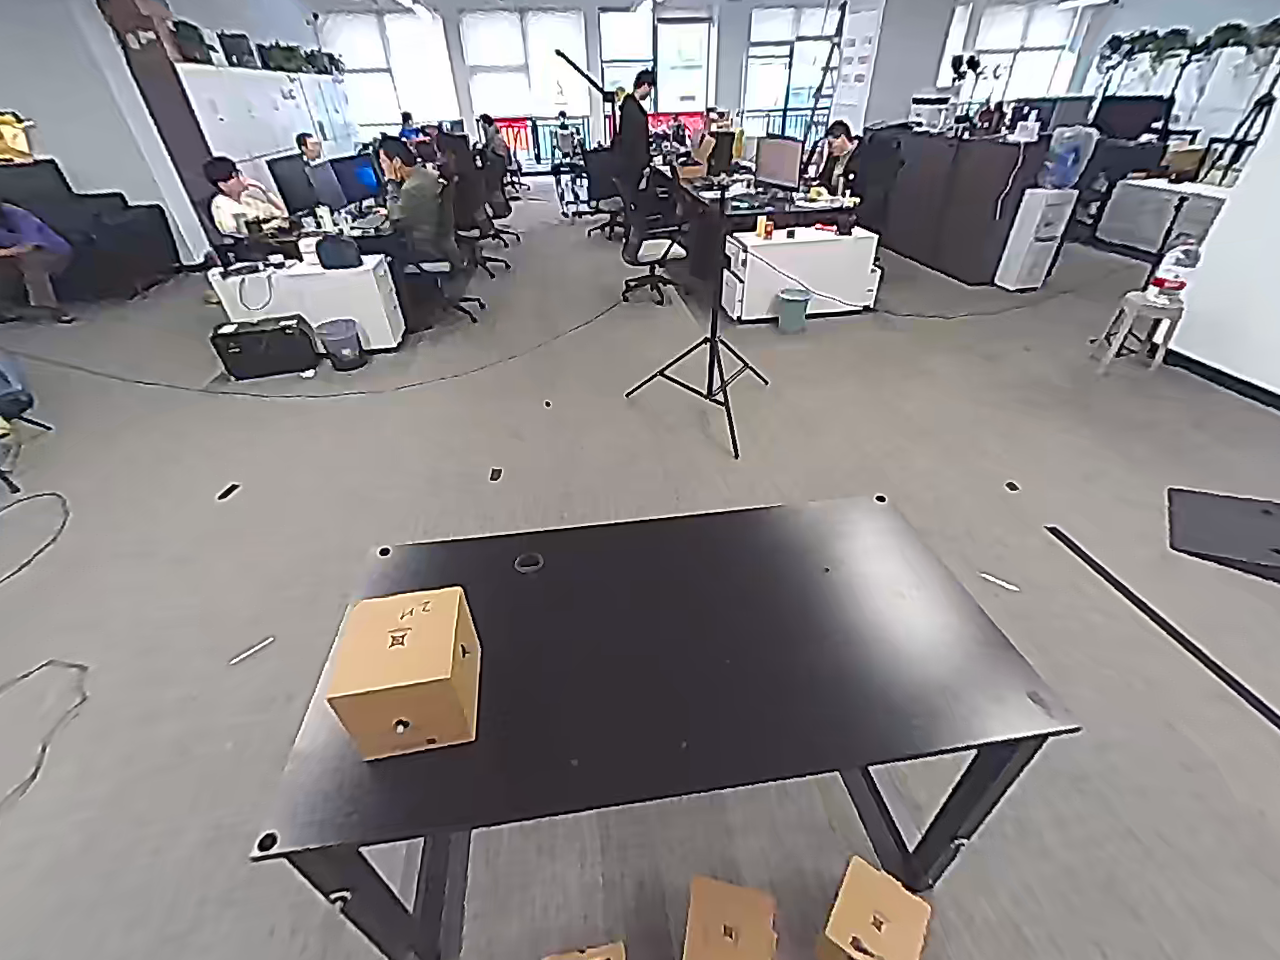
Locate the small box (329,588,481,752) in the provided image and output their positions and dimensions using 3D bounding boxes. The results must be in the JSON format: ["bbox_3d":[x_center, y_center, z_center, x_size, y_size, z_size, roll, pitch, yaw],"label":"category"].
[{"bbox_3d":[-0.351,0.300,0.847,0.168,0.176,0.179,-7,36,-8],"label":"small box"}]

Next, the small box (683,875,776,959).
[{"bbox_3d":[0.186,0.976,1.136,0.179,0.176,0.168,5,36,12],"label":"small box"}]

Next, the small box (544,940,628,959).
[{"bbox_3d":[-0.096,1.044,1.054,0.168,0.176,0.179,-7,38,-6],"label":"small box"}]

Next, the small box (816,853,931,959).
[{"bbox_3d":[0.488,0.955,1.146,0.168,0.176,0.179,21,42,29],"label":"small box"}]
